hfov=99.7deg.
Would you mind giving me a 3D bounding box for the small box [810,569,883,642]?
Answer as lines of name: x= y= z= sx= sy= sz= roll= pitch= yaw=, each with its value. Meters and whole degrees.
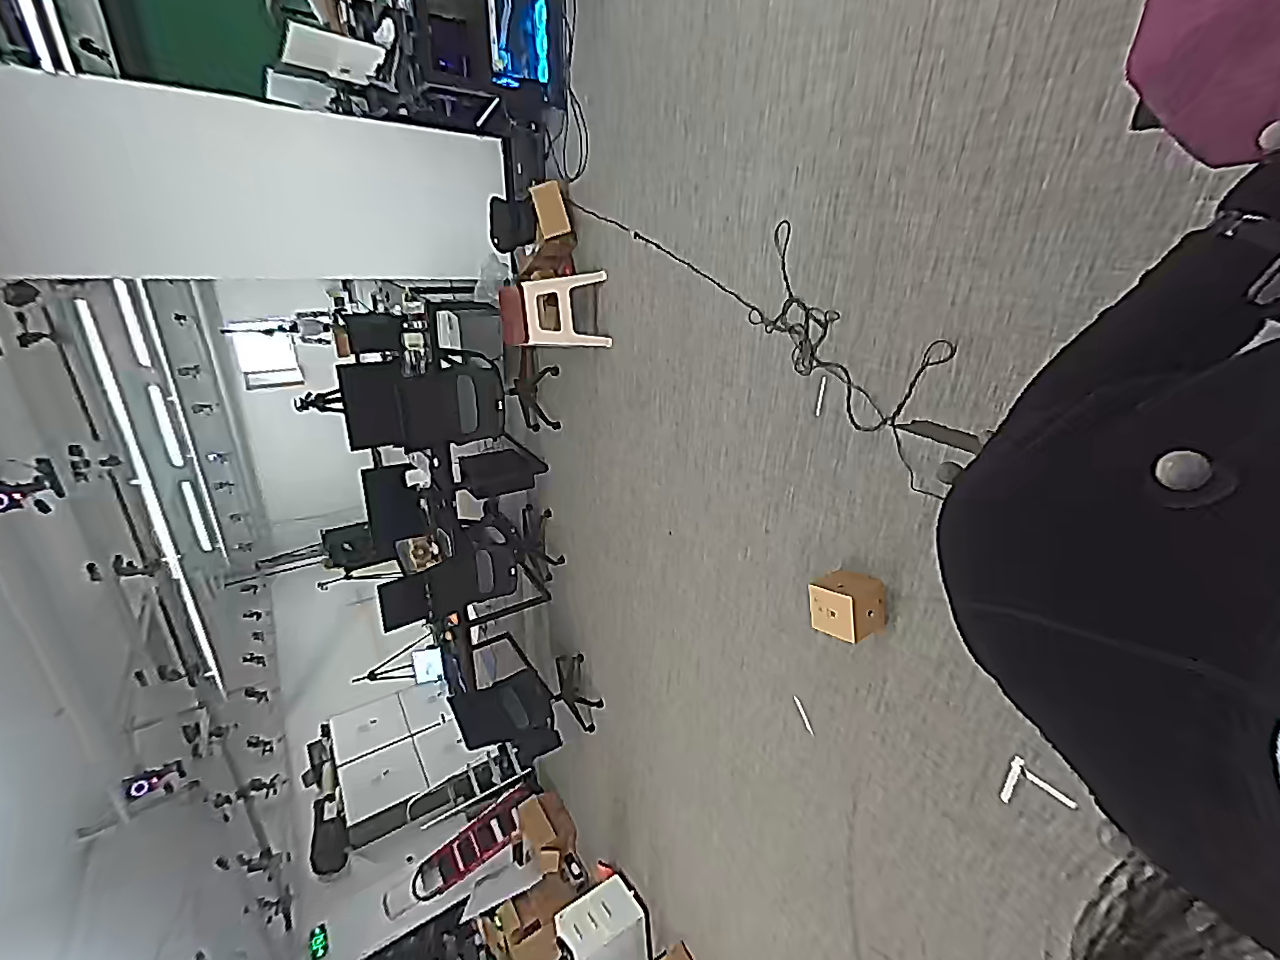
small box: x=0.702 y=0.415 z=1.827 sx=0.179 sy=0.176 sz=0.168 roll=11 pitch=111 yaw=57
